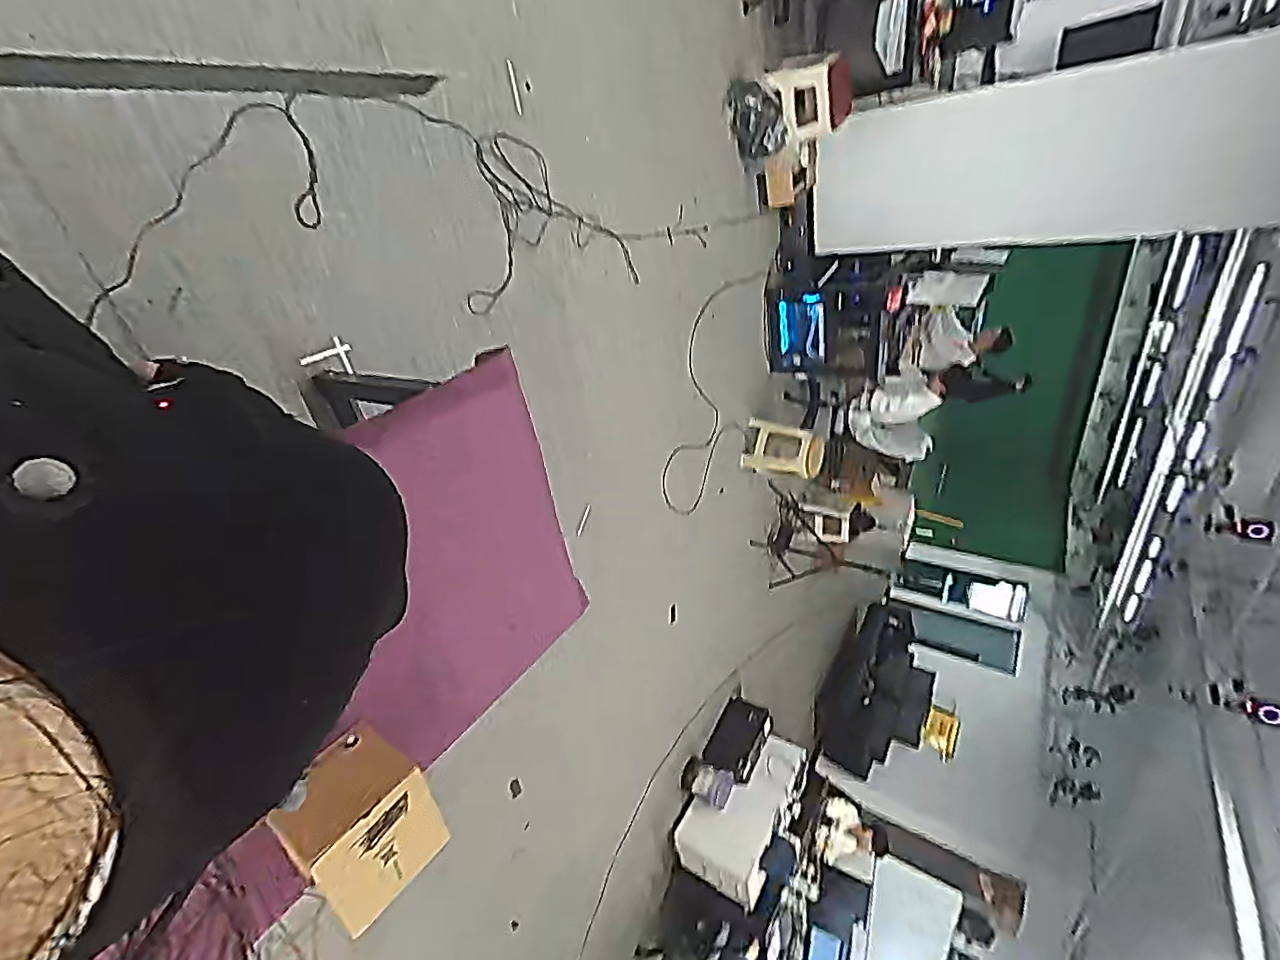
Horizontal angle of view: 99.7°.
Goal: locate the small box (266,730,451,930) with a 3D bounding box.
[{"bbox_3d":[-0.428,0.516,0.829,0.168,0.176,0.179,-36,127,-44],"label":"small box"}]
